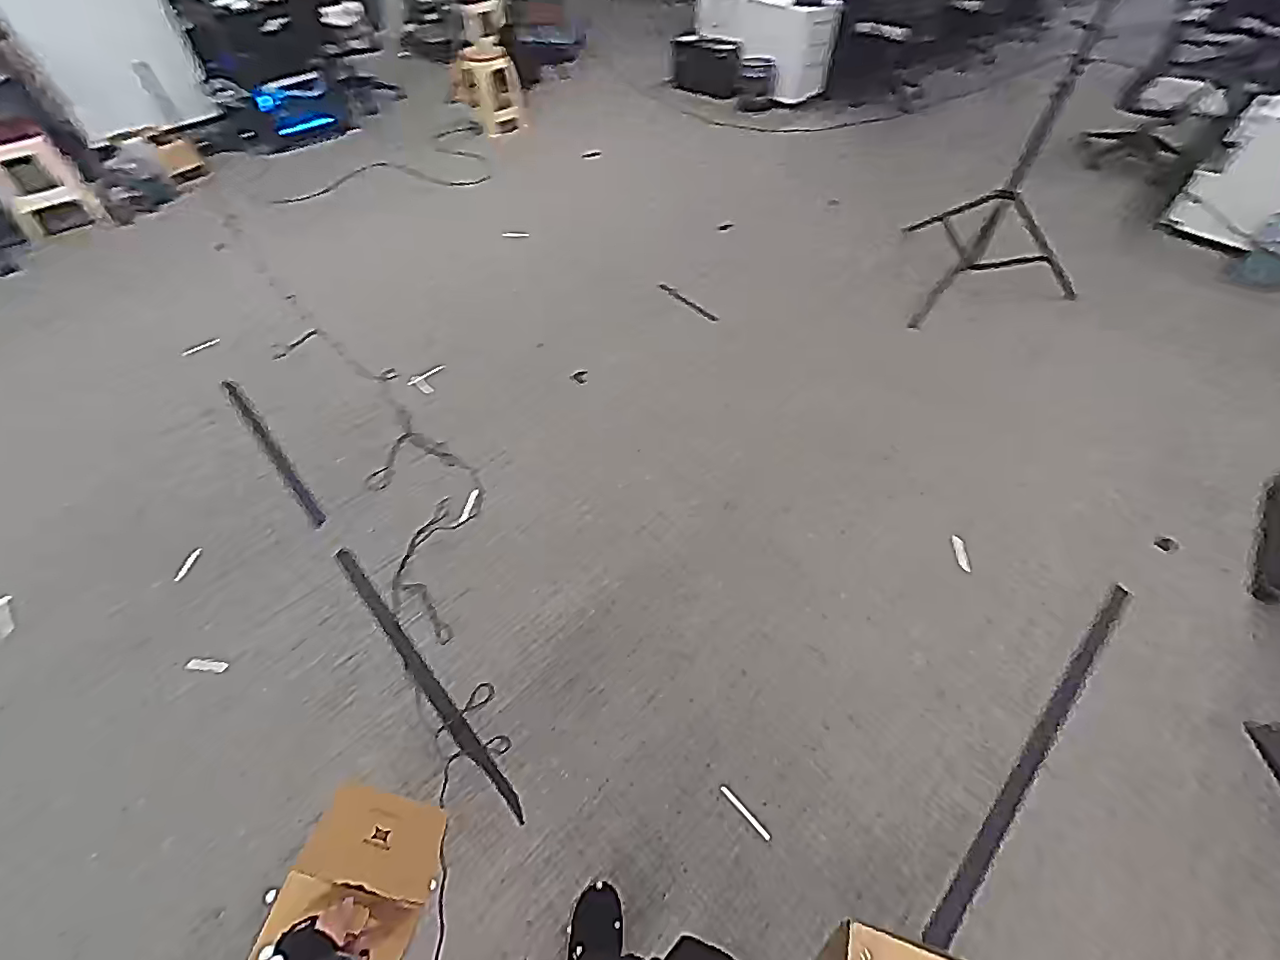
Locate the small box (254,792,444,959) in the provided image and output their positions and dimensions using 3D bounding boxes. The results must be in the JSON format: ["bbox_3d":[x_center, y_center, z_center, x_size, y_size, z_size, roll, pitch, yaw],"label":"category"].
[{"bbox_3d":[-0.388,0.570,0.727,0.168,0.179,0.176,24,89,-13],"label":"small box"}]
